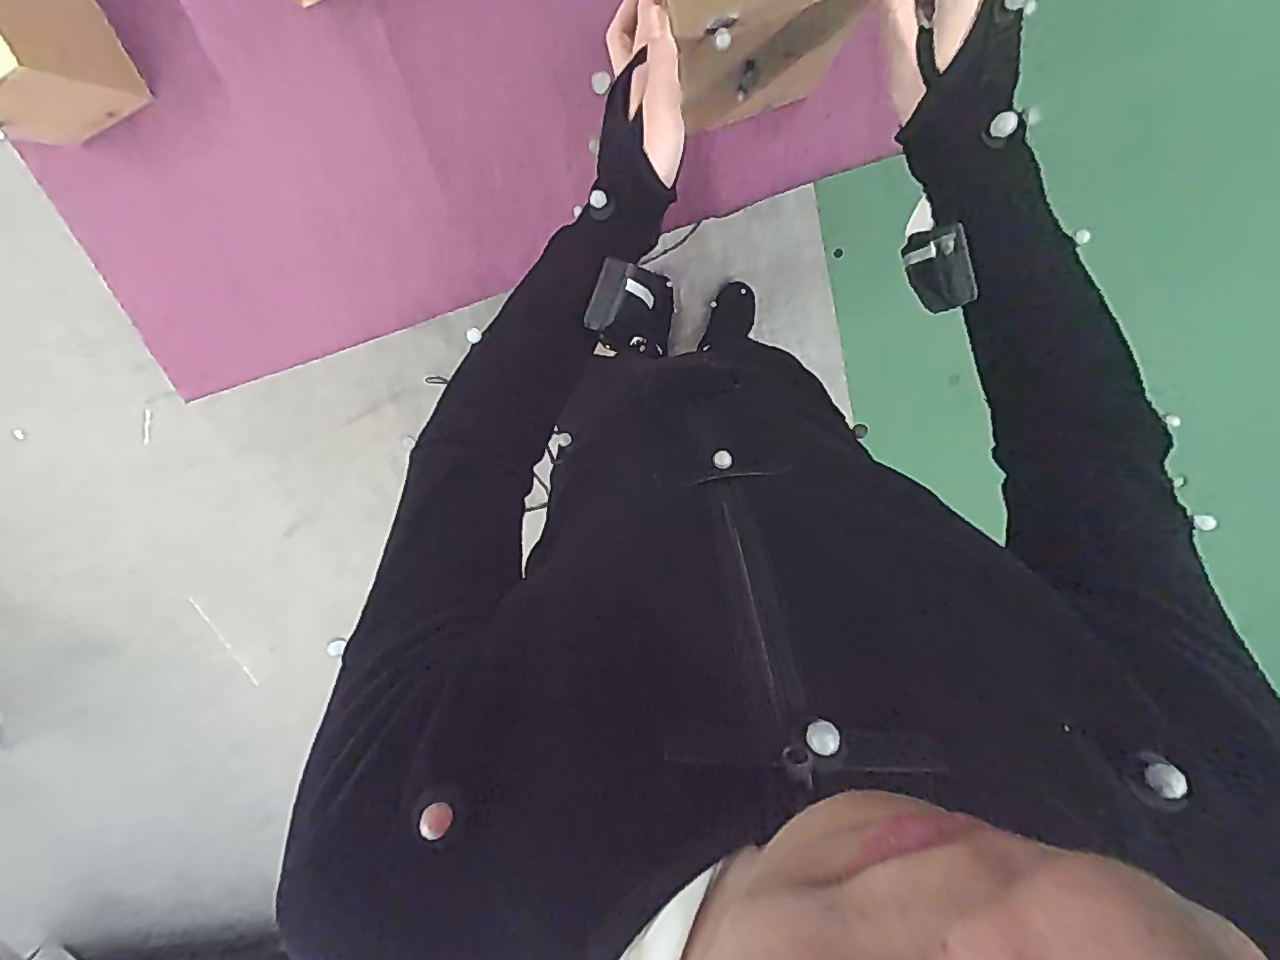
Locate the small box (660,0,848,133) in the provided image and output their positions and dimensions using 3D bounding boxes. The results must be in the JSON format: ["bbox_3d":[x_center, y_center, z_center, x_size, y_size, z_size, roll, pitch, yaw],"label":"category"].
[{"bbox_3d":[0.109,-0.508,0.576,0.168,0.176,0.179,-12,109,12],"label":"small box"}]

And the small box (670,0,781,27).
[{"bbox_3d":[0.074,-0.379,0.277,0.168,0.176,0.179,-13,108,12],"label":"small box"}]

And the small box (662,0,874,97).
[{"bbox_3d":[0.091,-0.447,0.426,0.168,0.176,0.179,-12,110,12],"label":"small box"}]
